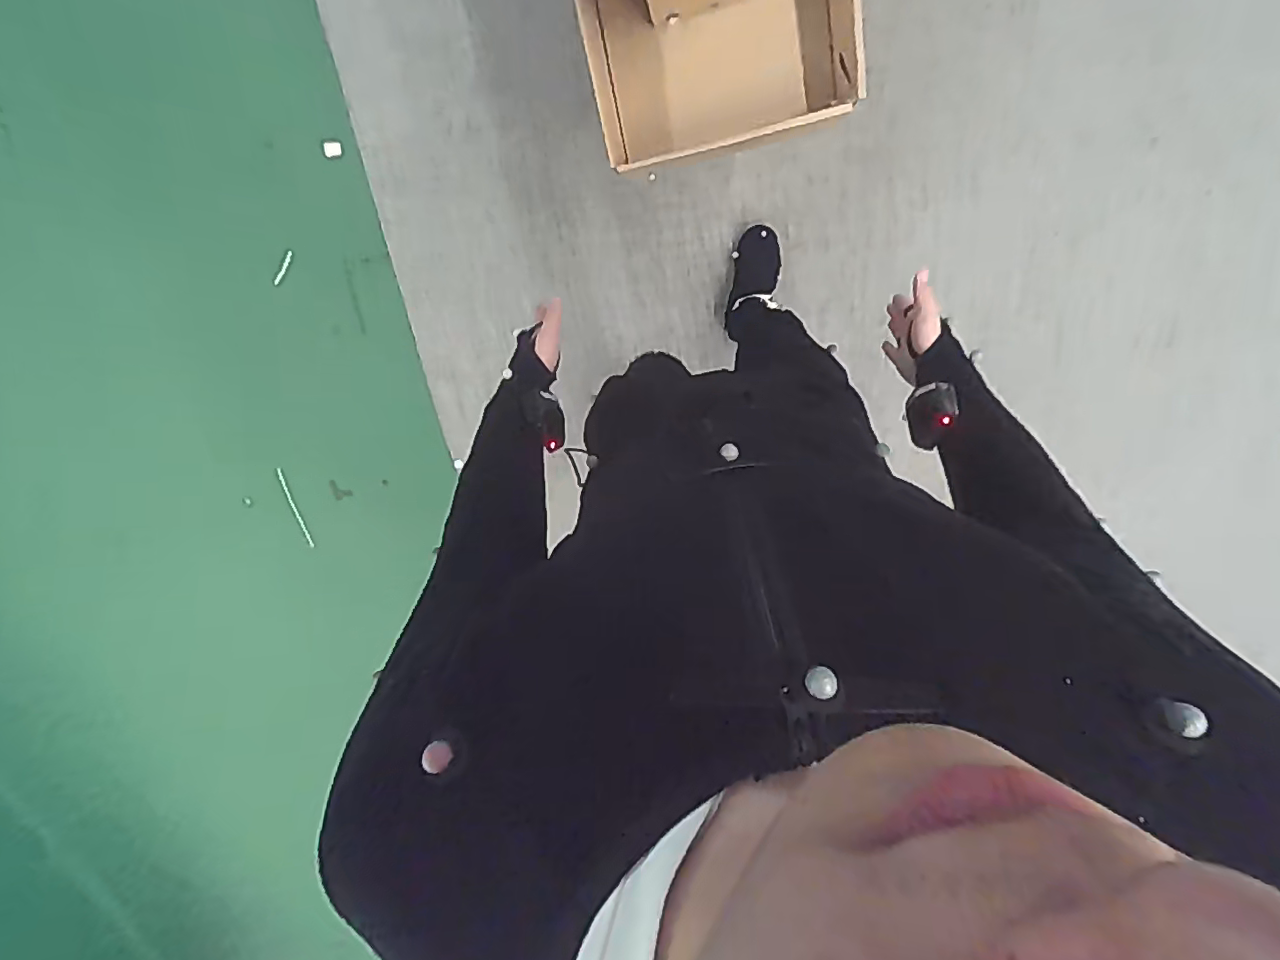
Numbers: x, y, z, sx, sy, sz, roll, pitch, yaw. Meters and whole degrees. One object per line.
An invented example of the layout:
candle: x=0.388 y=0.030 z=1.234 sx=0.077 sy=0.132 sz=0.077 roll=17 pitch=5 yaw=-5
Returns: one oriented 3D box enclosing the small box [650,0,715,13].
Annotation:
small box: x=0.078 y=-0.820 z=0.781 sx=0.168 sy=0.176 sz=0.179 roll=-7 pitch=111 yaw=10
